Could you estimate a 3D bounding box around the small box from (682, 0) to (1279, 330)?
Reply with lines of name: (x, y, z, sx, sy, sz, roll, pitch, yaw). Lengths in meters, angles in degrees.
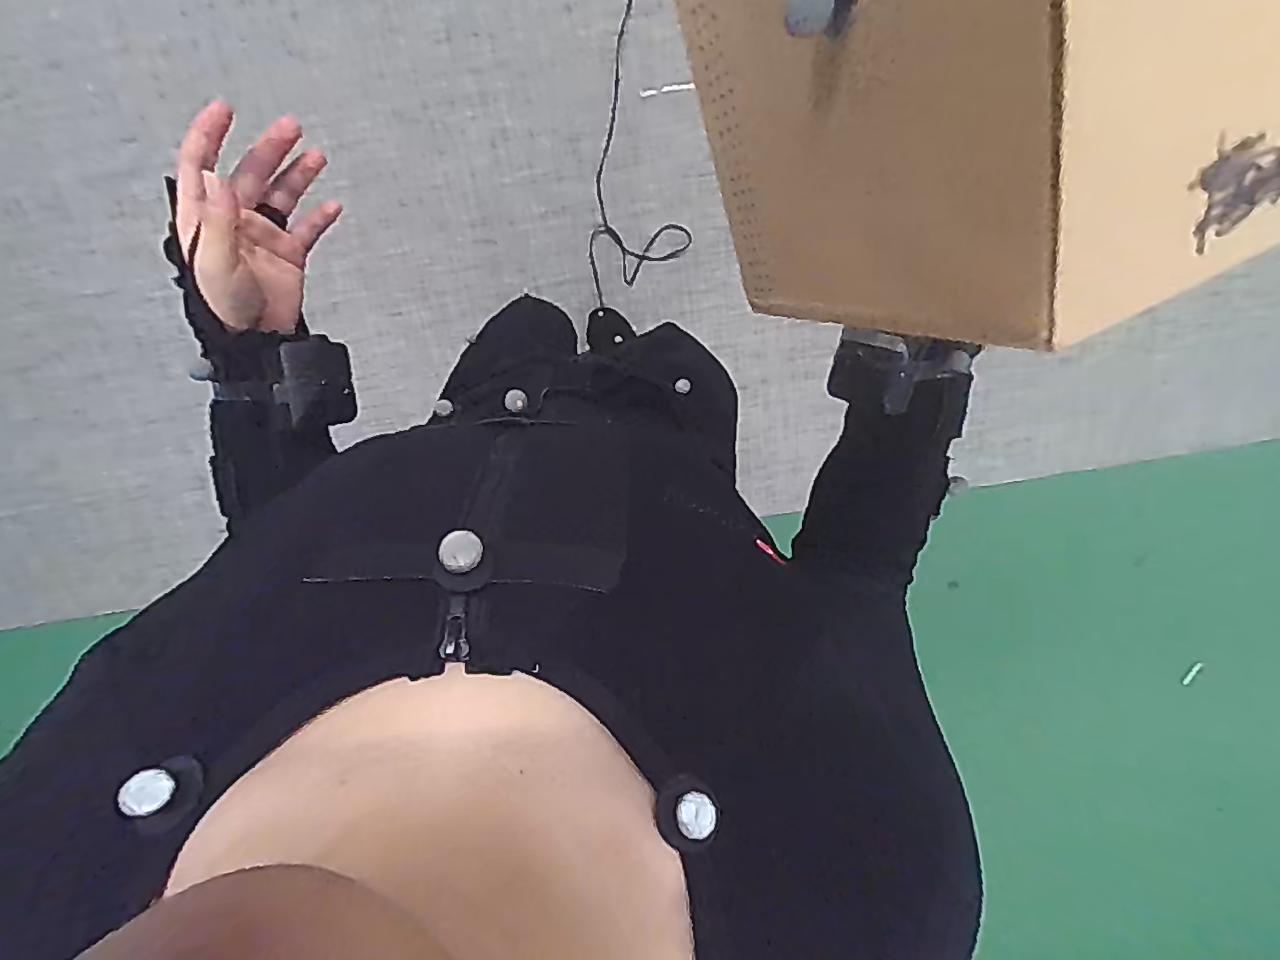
small box: (0.130, -0.172, 0.200, 0.168, 0.176, 0.179, -26, 115, -7)
